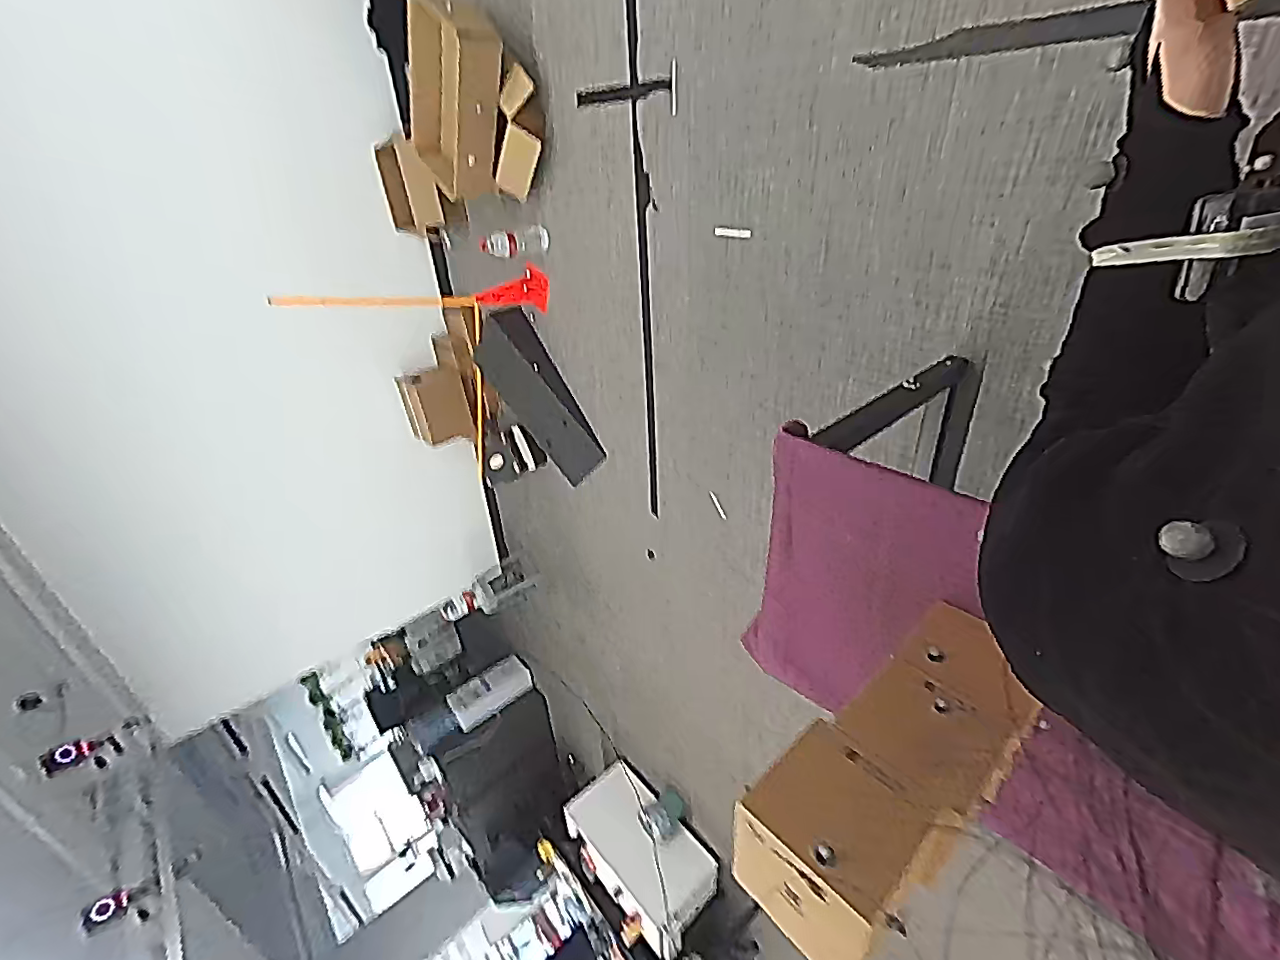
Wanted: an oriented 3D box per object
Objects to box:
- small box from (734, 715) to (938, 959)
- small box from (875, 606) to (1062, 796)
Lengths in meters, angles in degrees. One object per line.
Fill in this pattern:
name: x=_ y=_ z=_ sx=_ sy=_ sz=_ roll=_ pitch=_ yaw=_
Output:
small box: x=0.231 y=0.433 z=0.653 sx=0.168 sy=0.176 sz=0.179 roll=27 pitch=132 yaw=42
small box: x=0.490 y=0.318 z=0.819 sx=0.179 sy=0.176 sz=0.168 roll=27 pitch=133 yaw=42
